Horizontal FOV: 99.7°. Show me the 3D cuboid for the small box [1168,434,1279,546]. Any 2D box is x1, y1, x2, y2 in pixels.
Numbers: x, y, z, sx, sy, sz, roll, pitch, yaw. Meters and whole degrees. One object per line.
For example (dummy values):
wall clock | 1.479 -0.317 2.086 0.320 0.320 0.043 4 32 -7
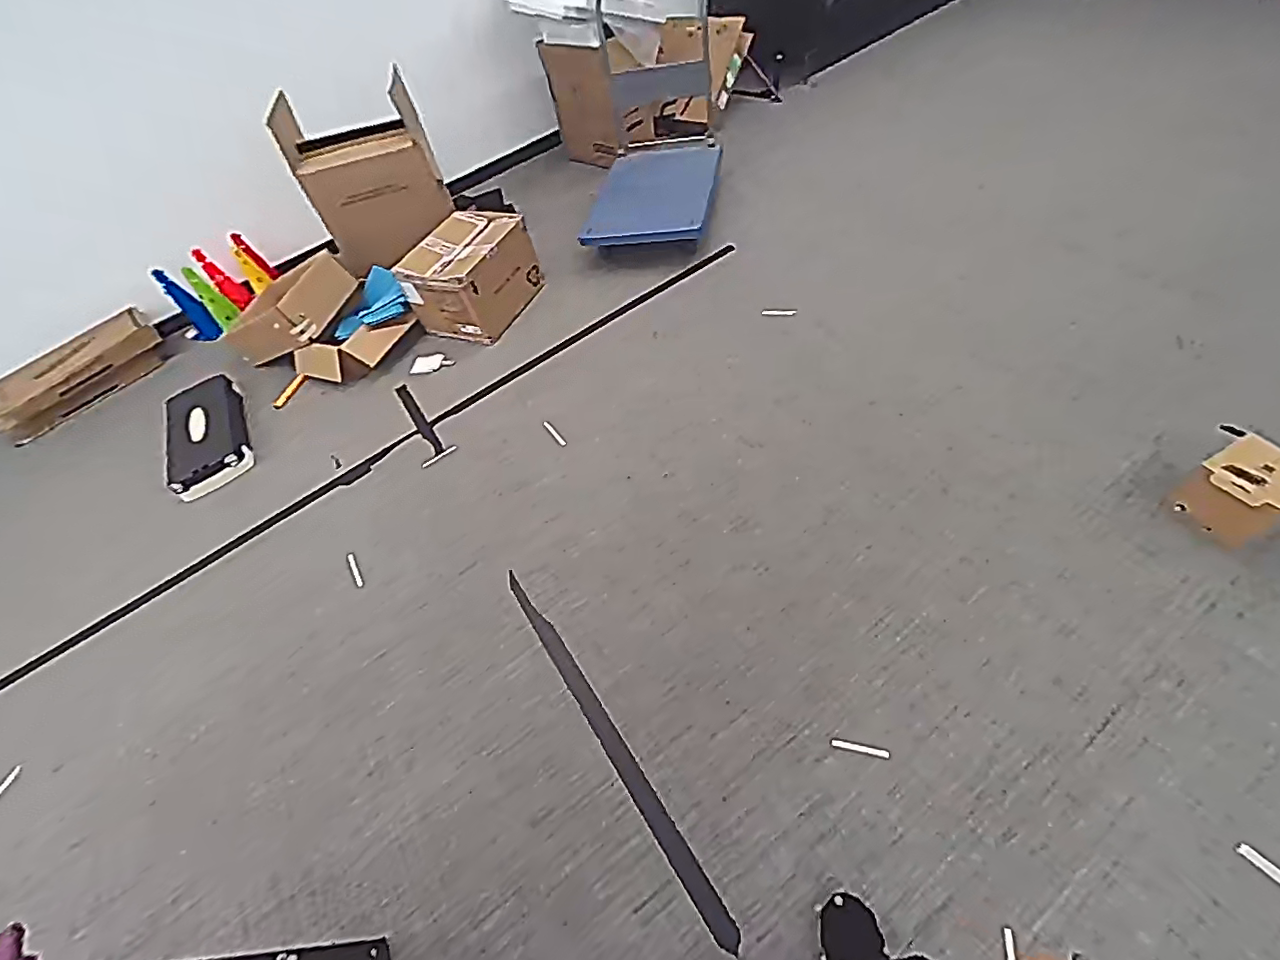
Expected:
small box | 1.438 0.029 1.296 0.179 0.176 0.168 -28 51 -9
